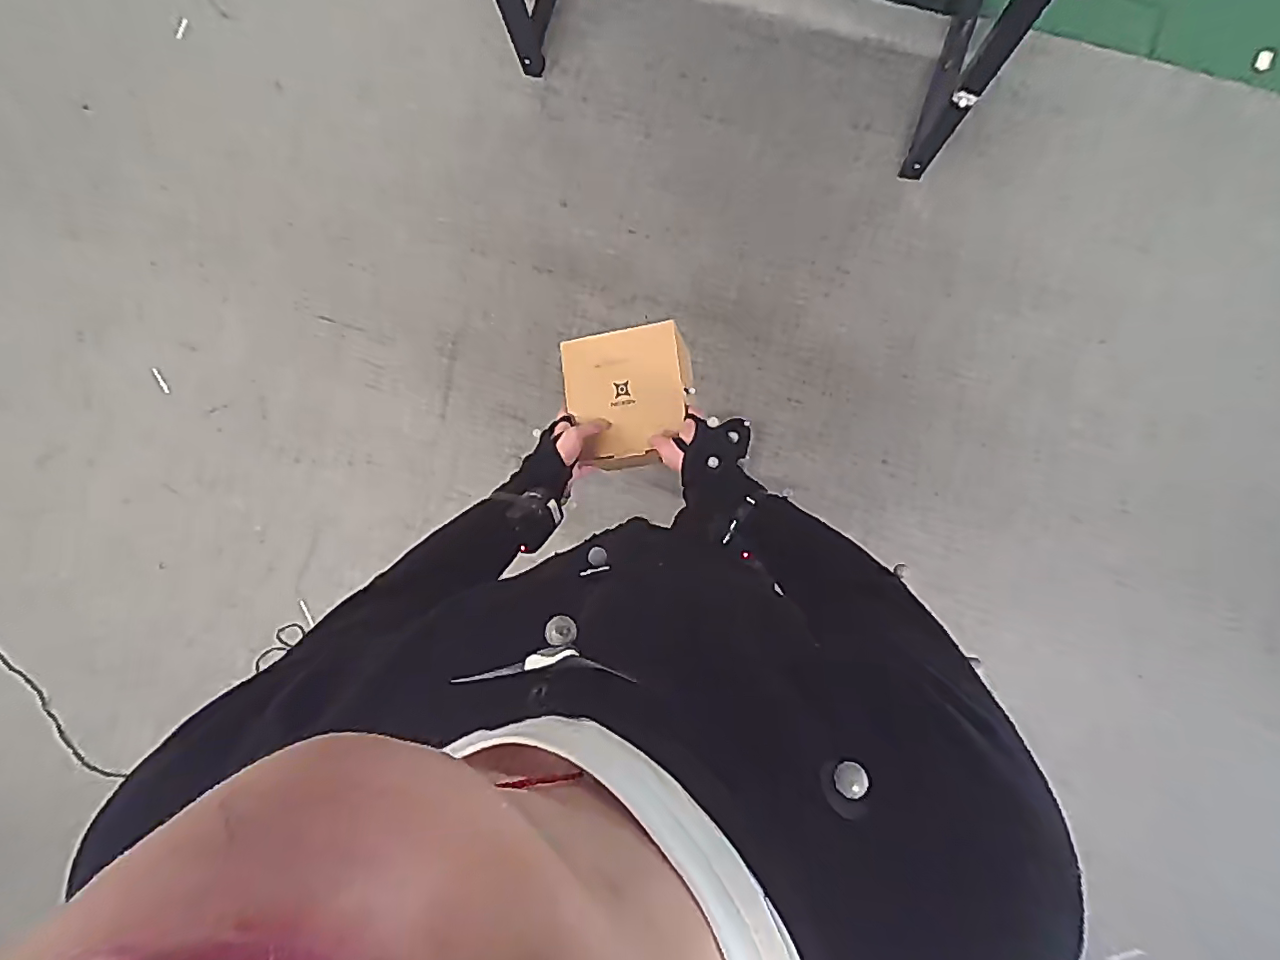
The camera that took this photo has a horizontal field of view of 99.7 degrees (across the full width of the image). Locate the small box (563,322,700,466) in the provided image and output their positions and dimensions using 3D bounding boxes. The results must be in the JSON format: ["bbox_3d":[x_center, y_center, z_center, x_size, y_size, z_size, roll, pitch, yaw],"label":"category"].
[{"bbox_3d":[-0.004,-0.117,0.822,0.168,0.176,0.179,-9,86,10],"label":"small box"}]

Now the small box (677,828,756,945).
[{"bbox_3d":[0.201,1.104,1.483,0.168,0.176,0.179,17,91,1],"label":"small box"}]
